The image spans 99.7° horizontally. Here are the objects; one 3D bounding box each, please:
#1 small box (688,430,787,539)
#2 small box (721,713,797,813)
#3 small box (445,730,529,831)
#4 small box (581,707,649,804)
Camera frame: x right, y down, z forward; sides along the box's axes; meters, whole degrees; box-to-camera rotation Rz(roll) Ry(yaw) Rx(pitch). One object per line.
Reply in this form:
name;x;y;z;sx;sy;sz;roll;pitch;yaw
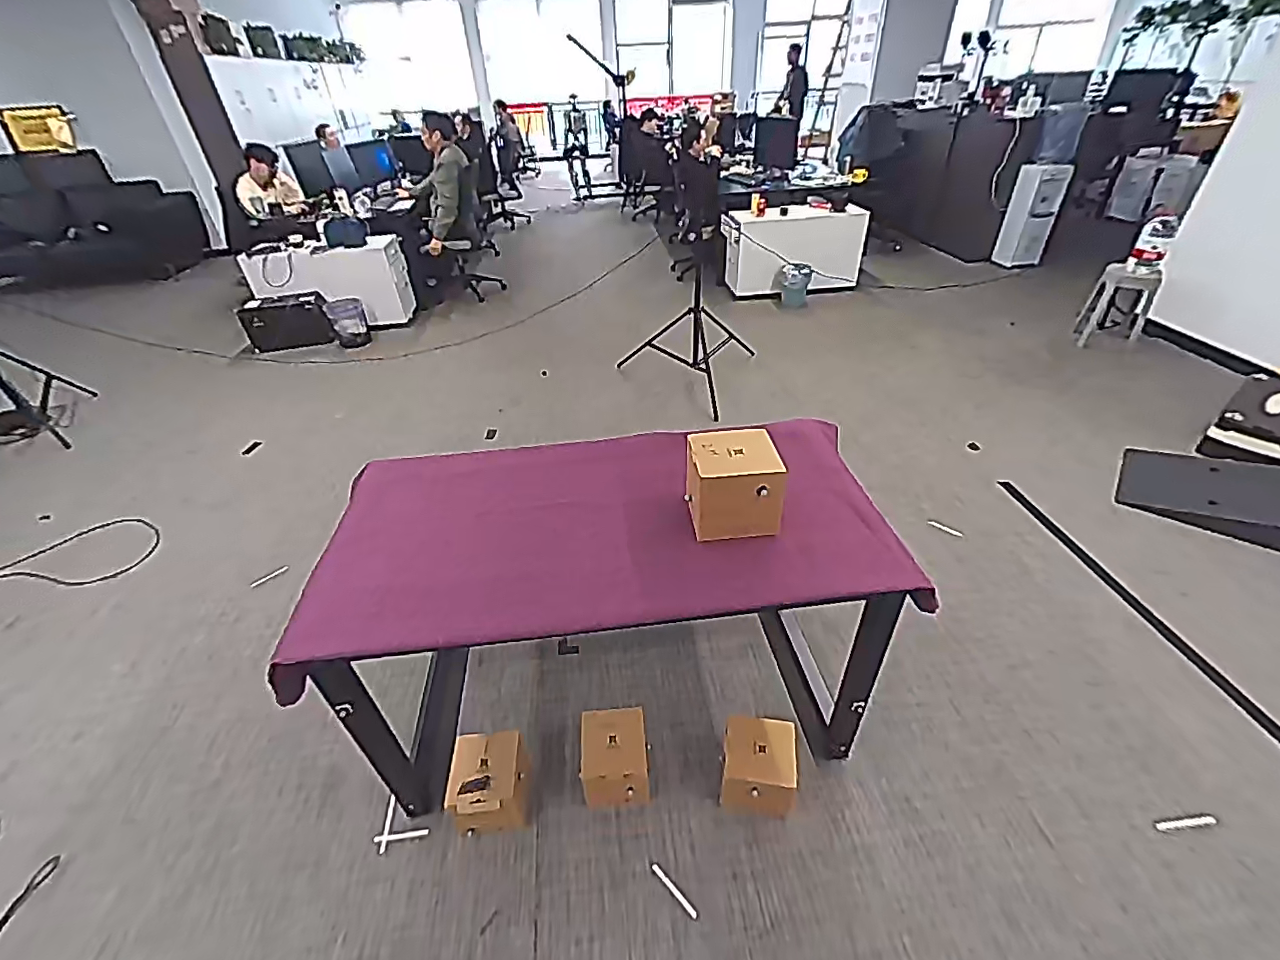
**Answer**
small box;0.200;0.010;1.163;0.179;0.176;0.168;-5;36;-2
small box;0.306;0.738;1.406;0.179;0.176;0.168;3;38;11
small box;-0.384;0.780;1.396;0.168;0.176;0.179;-5;36;-3
small box;-0.066;0.735;1.436;0.168;0.176;0.179;-4;36;-3
